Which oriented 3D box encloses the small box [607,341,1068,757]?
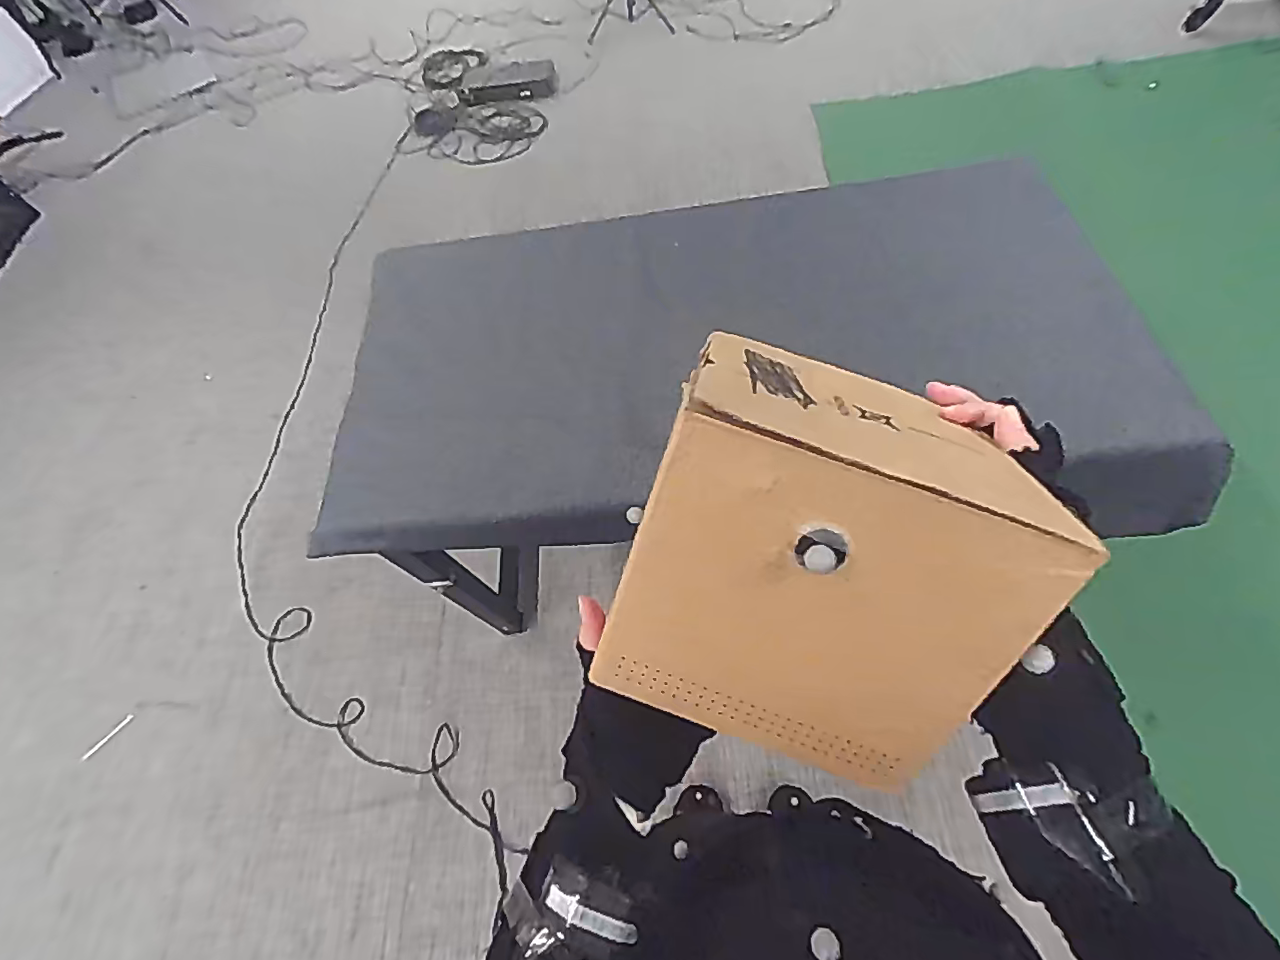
[{"bbox_3d":[0.092,0.034,0.336,0.179,0.176,0.168,20,28,2],"label":"small box"}]
